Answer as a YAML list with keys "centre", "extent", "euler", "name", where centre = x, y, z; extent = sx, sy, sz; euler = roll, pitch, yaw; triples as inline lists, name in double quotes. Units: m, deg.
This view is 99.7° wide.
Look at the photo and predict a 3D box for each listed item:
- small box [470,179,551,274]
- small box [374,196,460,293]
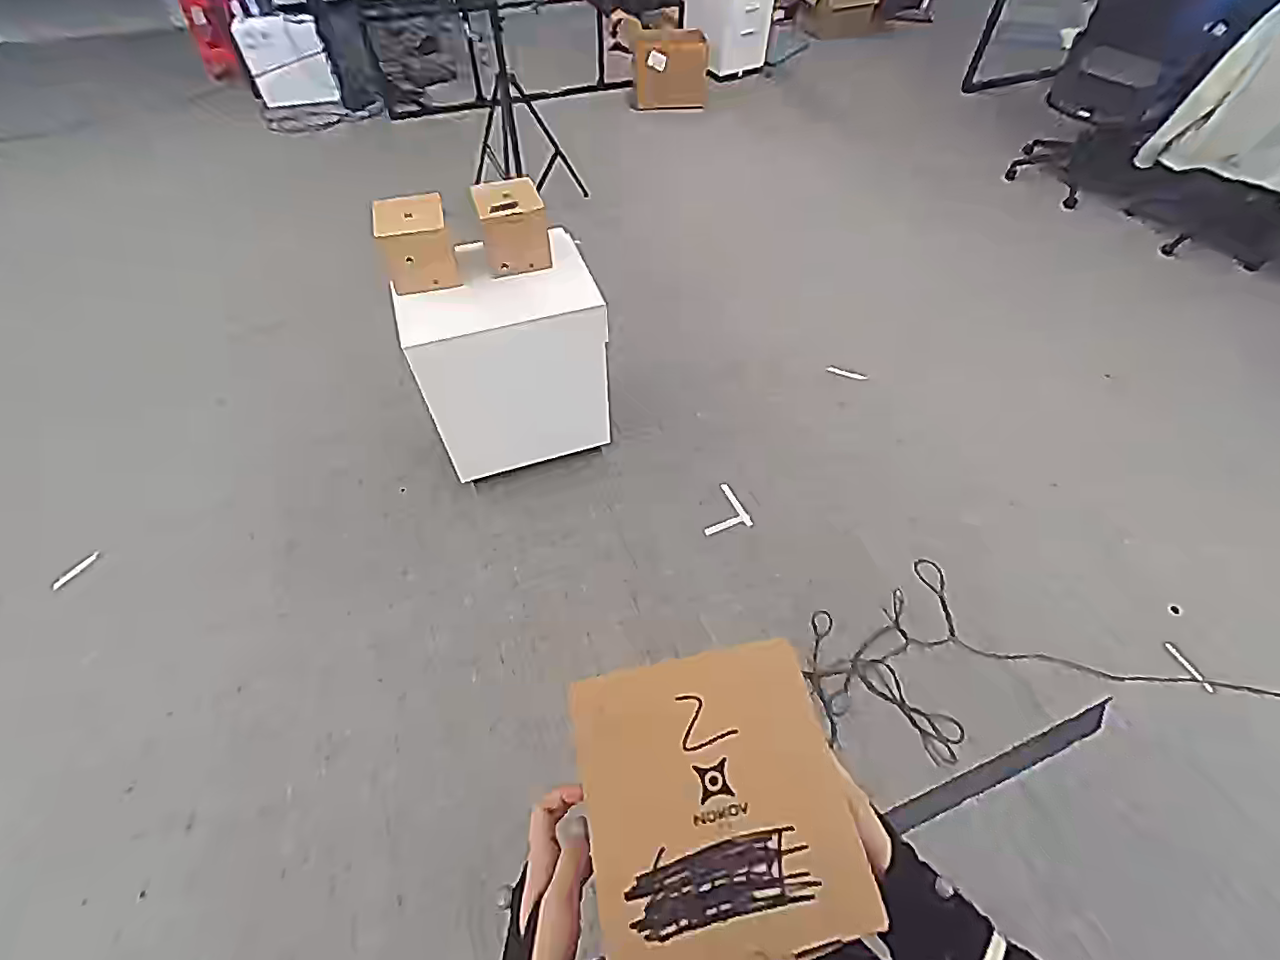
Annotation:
- centre: [-0.344, -0.673, 1.453]
  extent: [0.168, 0.176, 0.179]
  euler: [-16, 56, -11]
  name: "small box"
- centre: [-0.573, -0.602, 1.400]
  extent: [0.168, 0.176, 0.179]
  euler: [-13, 55, -11]
  name: "small box"
